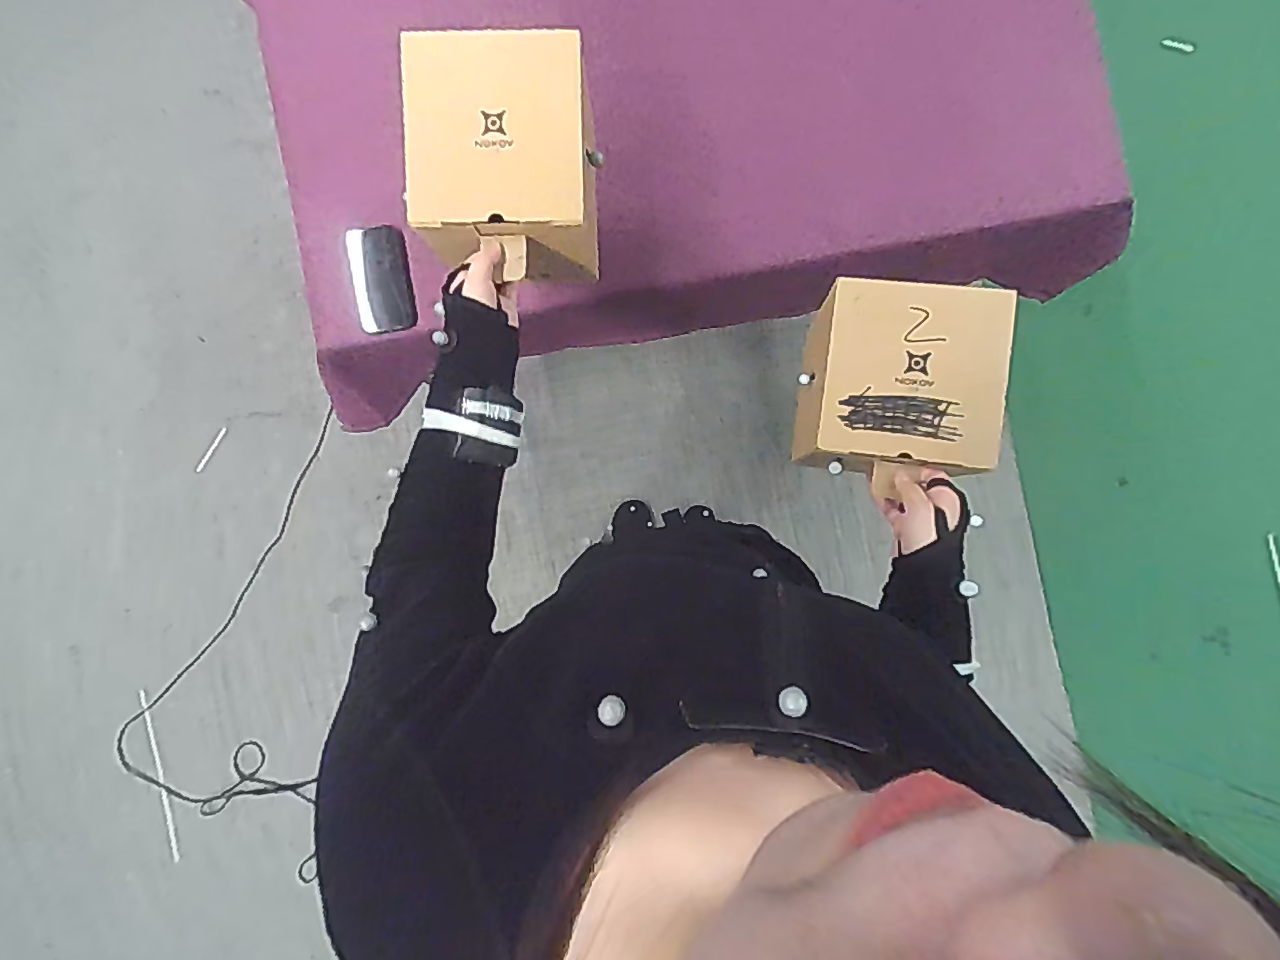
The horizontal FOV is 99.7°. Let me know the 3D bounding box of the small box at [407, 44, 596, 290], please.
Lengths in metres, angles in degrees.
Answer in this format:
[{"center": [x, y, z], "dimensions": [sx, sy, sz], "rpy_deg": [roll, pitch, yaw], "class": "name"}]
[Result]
[{"center": [-0.136, -0.320, 0.585], "dimensions": [0.168, 0.176, 0.179], "rpy_deg": [-1, 93, -1], "class": "small box"}]
